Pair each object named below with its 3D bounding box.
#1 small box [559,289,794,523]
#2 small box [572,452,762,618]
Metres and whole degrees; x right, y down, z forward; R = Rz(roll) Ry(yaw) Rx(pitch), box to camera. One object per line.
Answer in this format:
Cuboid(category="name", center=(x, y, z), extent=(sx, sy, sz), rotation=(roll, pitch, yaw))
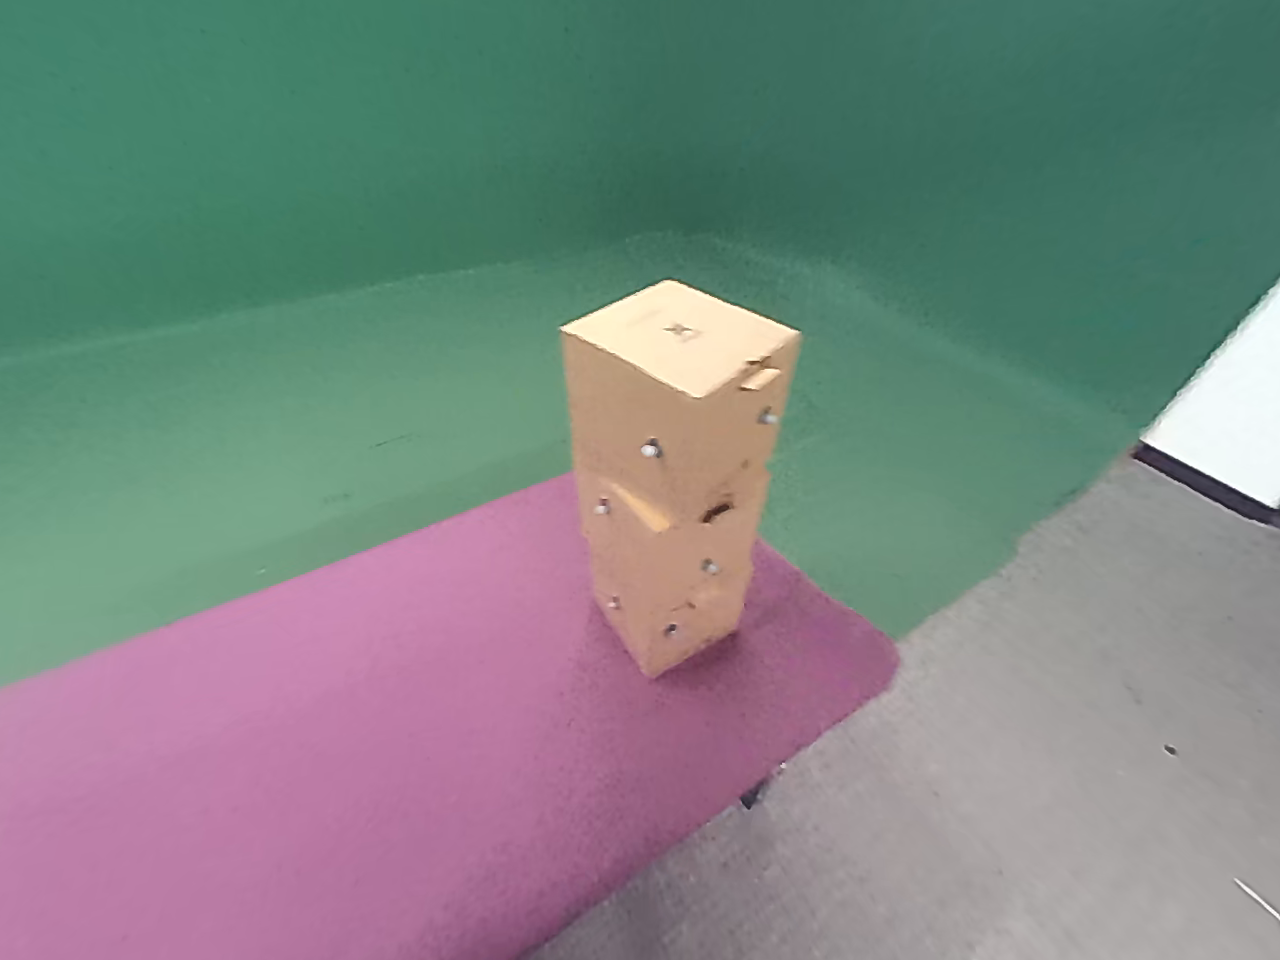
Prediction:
Cuboid(category="small box", center=(0.035, -0.078, 0.589), extent=(0.179, 0.176, 0.168), rotation=(34, 52, 29))
Cuboid(category="small box", center=(0.027, 0.042, 0.701), extent=(0.168, 0.176, 0.179), rotation=(-26, 51, -25))
